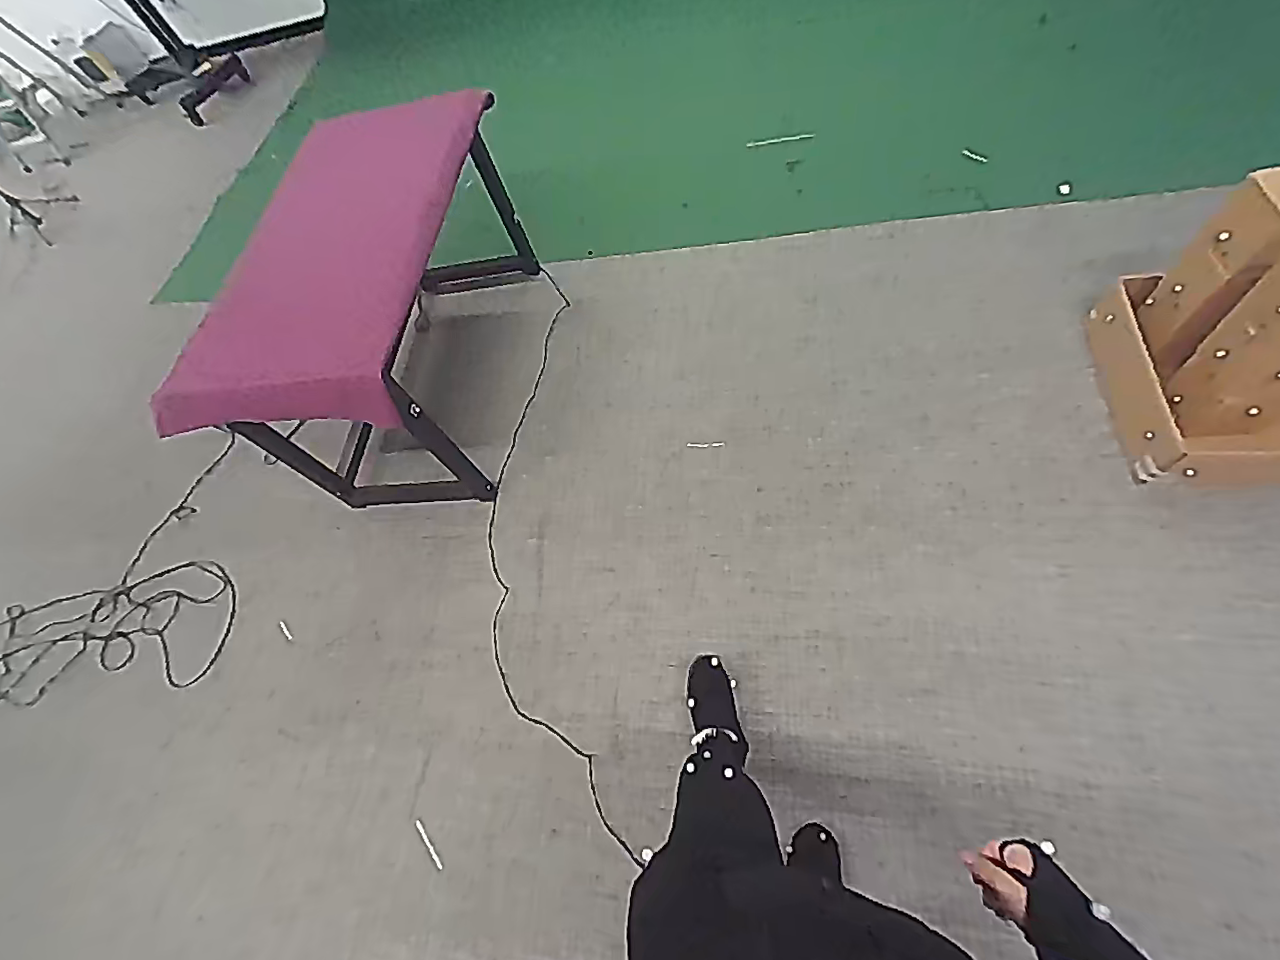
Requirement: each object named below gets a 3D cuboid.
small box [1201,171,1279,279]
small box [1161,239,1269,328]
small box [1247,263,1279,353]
[{"bbox_3d":[1.503,-0.600,1.267,0.179,0.176,0.168,-5,62,11],"label":"small box"},{"bbox_3d":[1.531,-0.516,1.407,0.179,0.176,0.168,0,63,13],"label":"small box"},{"bbox_3d":[1.482,-0.385,1.162,0.179,0.176,0.168,3,61,16],"label":"small box"}]
